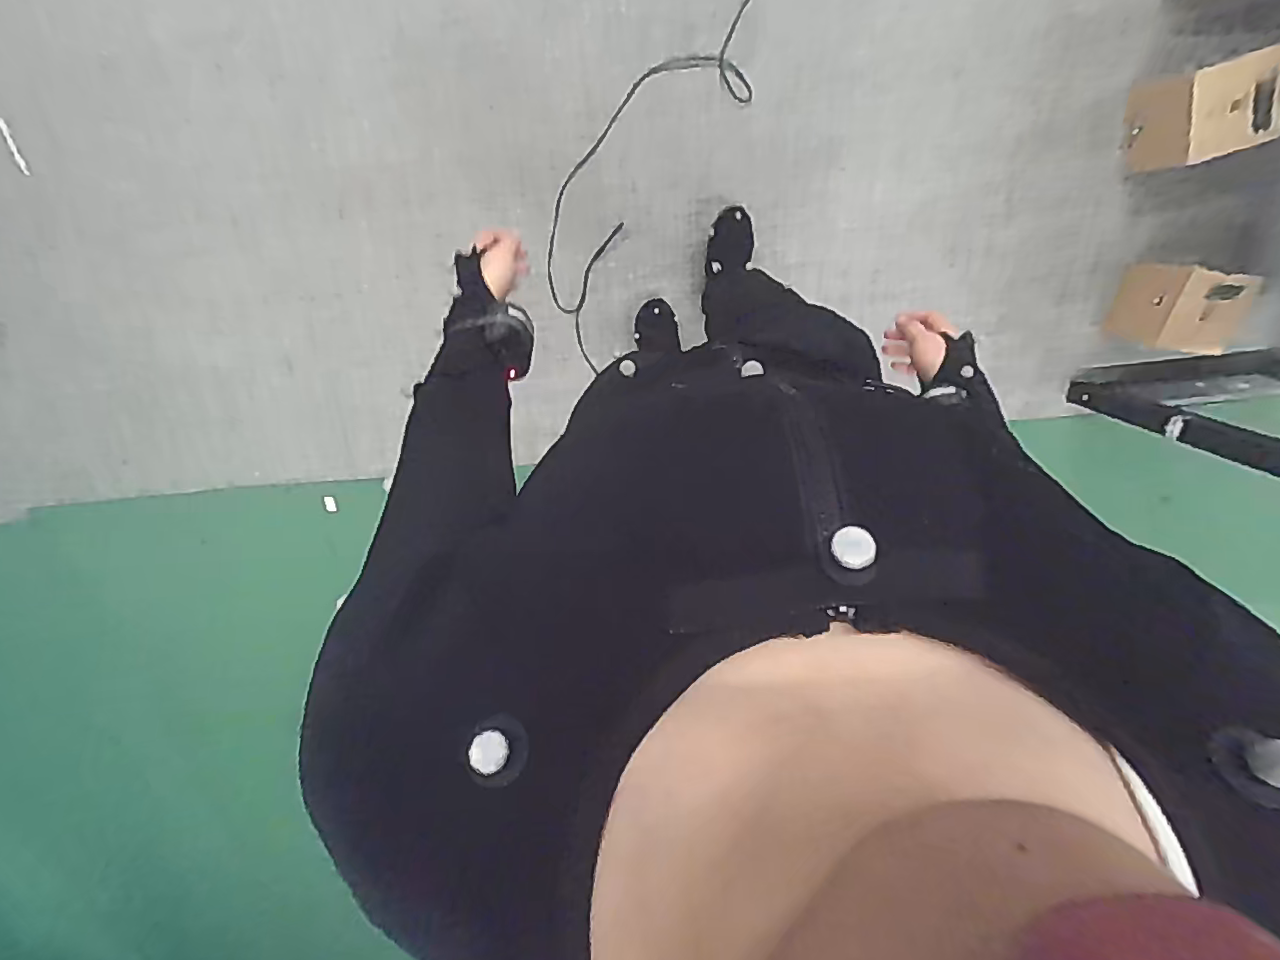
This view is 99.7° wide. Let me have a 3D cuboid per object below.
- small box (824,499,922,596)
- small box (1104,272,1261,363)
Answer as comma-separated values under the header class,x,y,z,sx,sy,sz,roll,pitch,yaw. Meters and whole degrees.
class,x,y,z,sx,sy,sz,roll,pitch,yaw
small box,0.652,0.187,1.529,0.168,0.176,0.179,-35,109,14
small box,1.266,-0.390,1.281,0.168,0.176,0.179,7,114,-2
